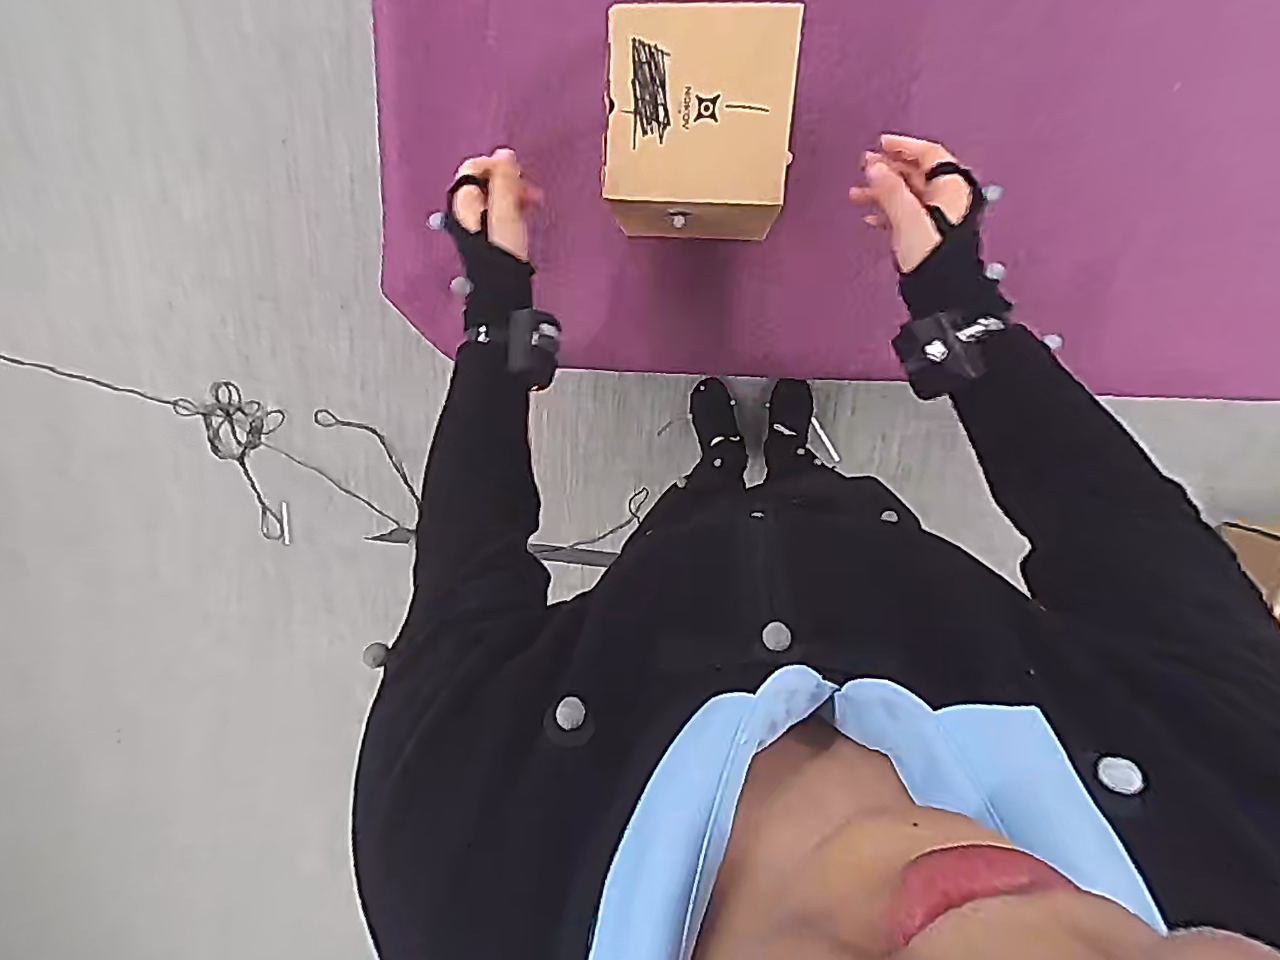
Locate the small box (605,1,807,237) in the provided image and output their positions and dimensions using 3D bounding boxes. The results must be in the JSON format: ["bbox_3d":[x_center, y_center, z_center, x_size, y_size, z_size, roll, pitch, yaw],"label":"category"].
[{"bbox_3d":[0.066,-0.367,0.581,0.179,0.176,0.168,5,104,5],"label":"small box"}]
